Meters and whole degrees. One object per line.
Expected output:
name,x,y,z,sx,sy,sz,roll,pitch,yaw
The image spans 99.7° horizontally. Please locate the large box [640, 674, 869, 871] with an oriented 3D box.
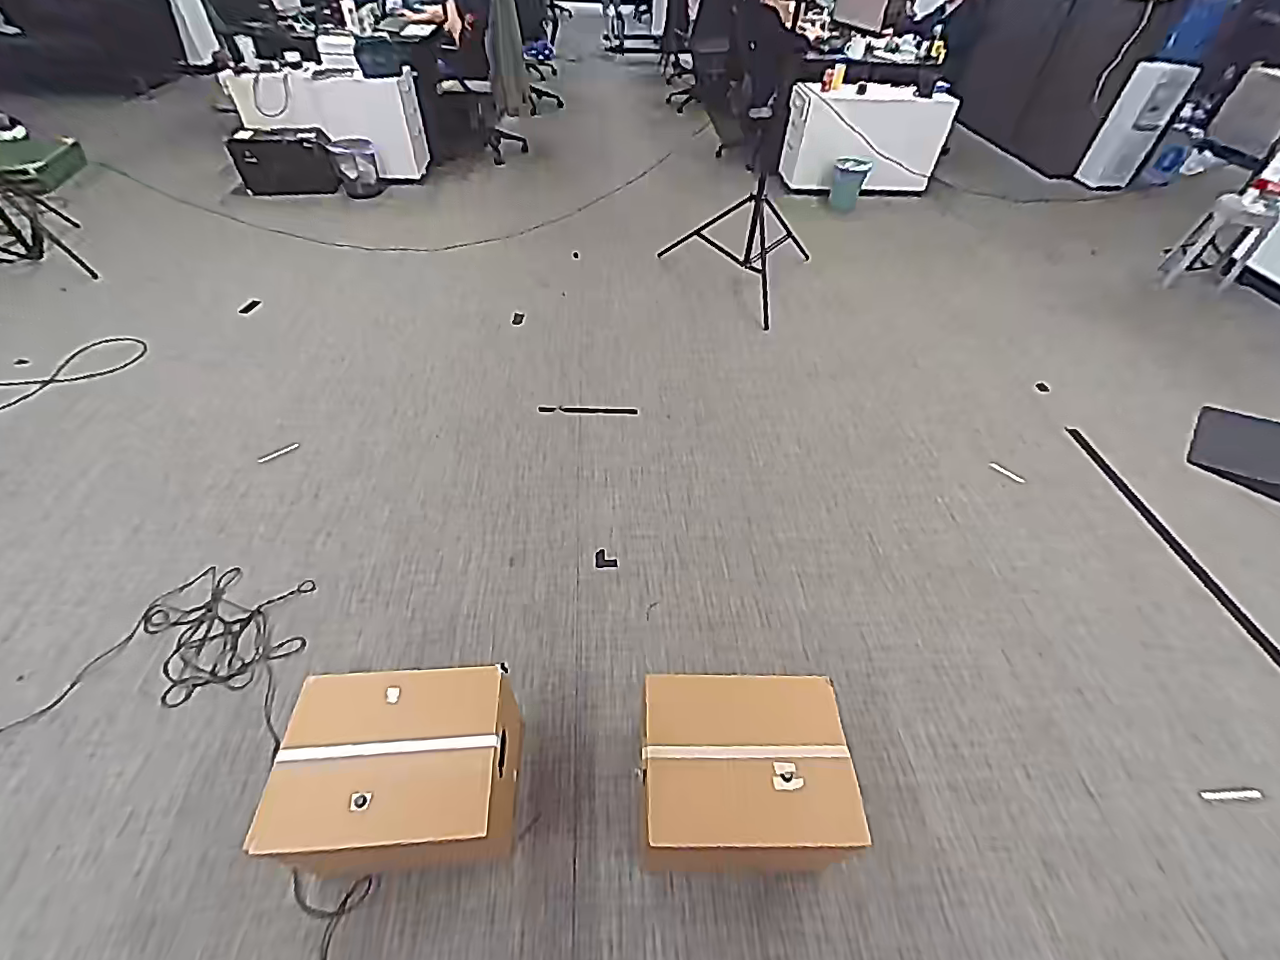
large box,0.210,0.638,1.181,0.408,0.320,0.320,2,47,-3
